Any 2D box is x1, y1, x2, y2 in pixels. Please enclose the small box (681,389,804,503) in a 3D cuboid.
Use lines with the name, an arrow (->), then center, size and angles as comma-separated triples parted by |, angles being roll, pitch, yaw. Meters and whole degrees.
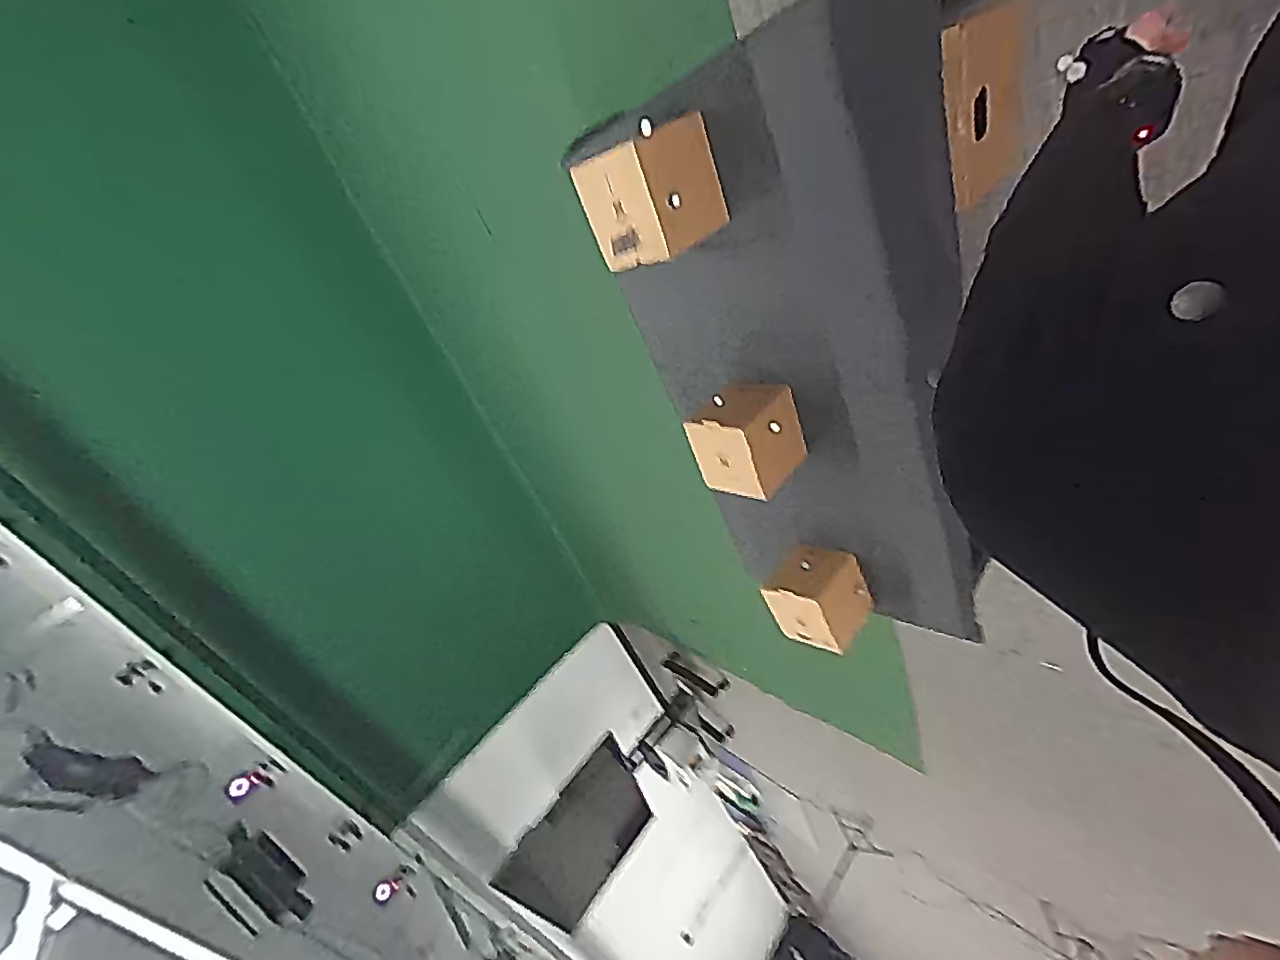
small box -> 0.222, -0.080, 1.153 | 0.168, 0.176, 0.179 | 13, 137, 49

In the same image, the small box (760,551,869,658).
small box -> 0.431, 0.296, 1.325 | 0.168, 0.176, 0.179 | 3, 127, 54

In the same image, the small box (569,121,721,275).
small box -> 0.015, -0.480, 0.934 | 0.168, 0.176, 0.179 | 13, 135, 47
